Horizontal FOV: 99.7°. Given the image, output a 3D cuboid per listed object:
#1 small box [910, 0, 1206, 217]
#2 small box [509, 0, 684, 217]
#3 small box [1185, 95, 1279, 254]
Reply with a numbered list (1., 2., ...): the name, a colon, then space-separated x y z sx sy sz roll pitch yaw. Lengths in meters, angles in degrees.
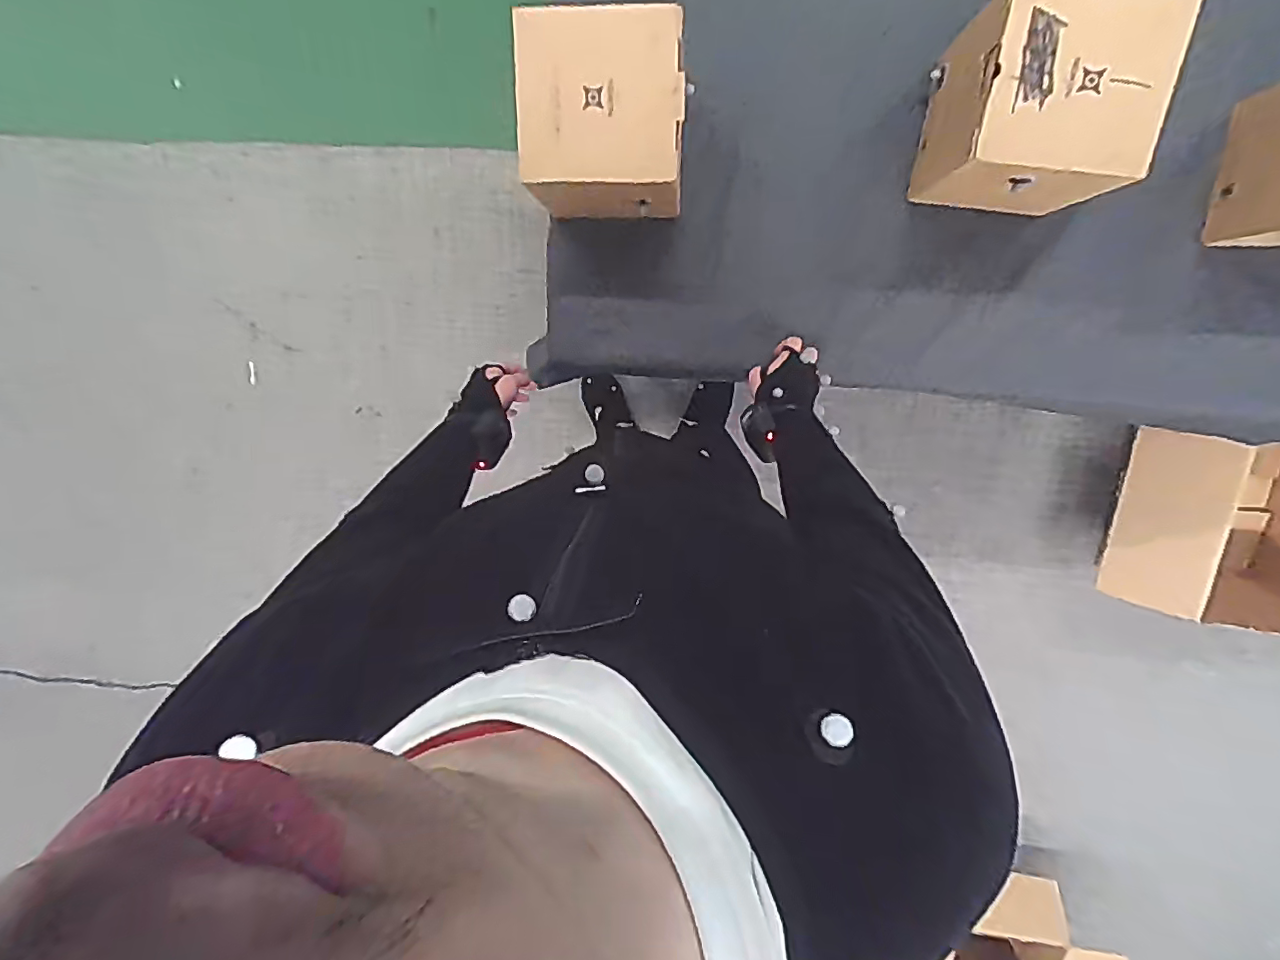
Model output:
1. small box: 0.437 -0.408 0.605 0.179 0.176 0.168 11 107 2
2. small box: -0.039 -0.414 0.628 0.179 0.176 0.168 1 104 5
3. small box: 0.799 -0.355 0.611 0.179 0.176 0.168 0 106 5
